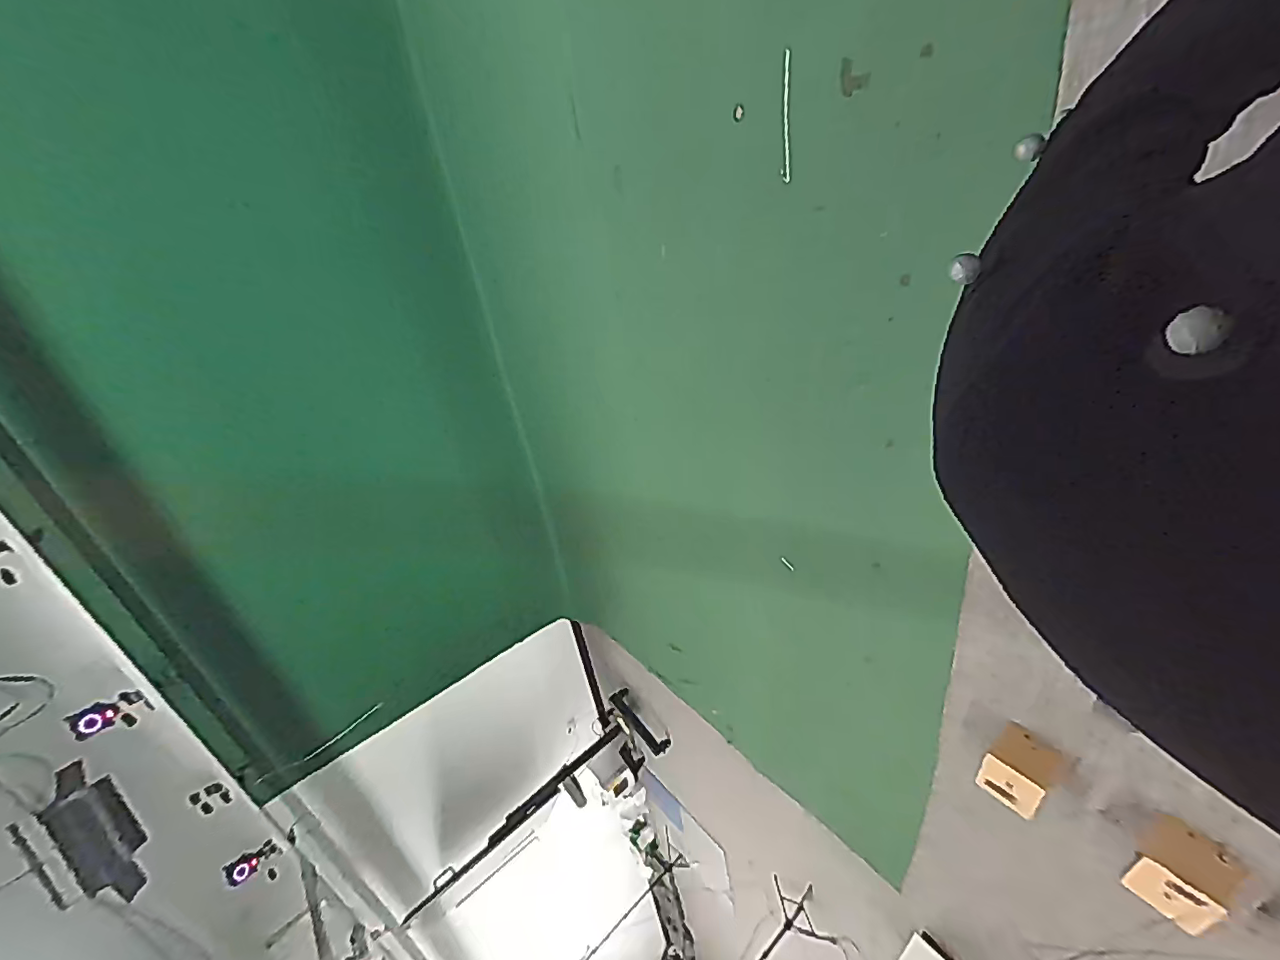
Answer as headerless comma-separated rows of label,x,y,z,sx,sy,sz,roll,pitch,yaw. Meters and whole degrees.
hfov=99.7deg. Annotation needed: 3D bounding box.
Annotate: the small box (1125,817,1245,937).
small box,1.469,1.060,1.456,0.168,0.176,0.179,33,140,42
